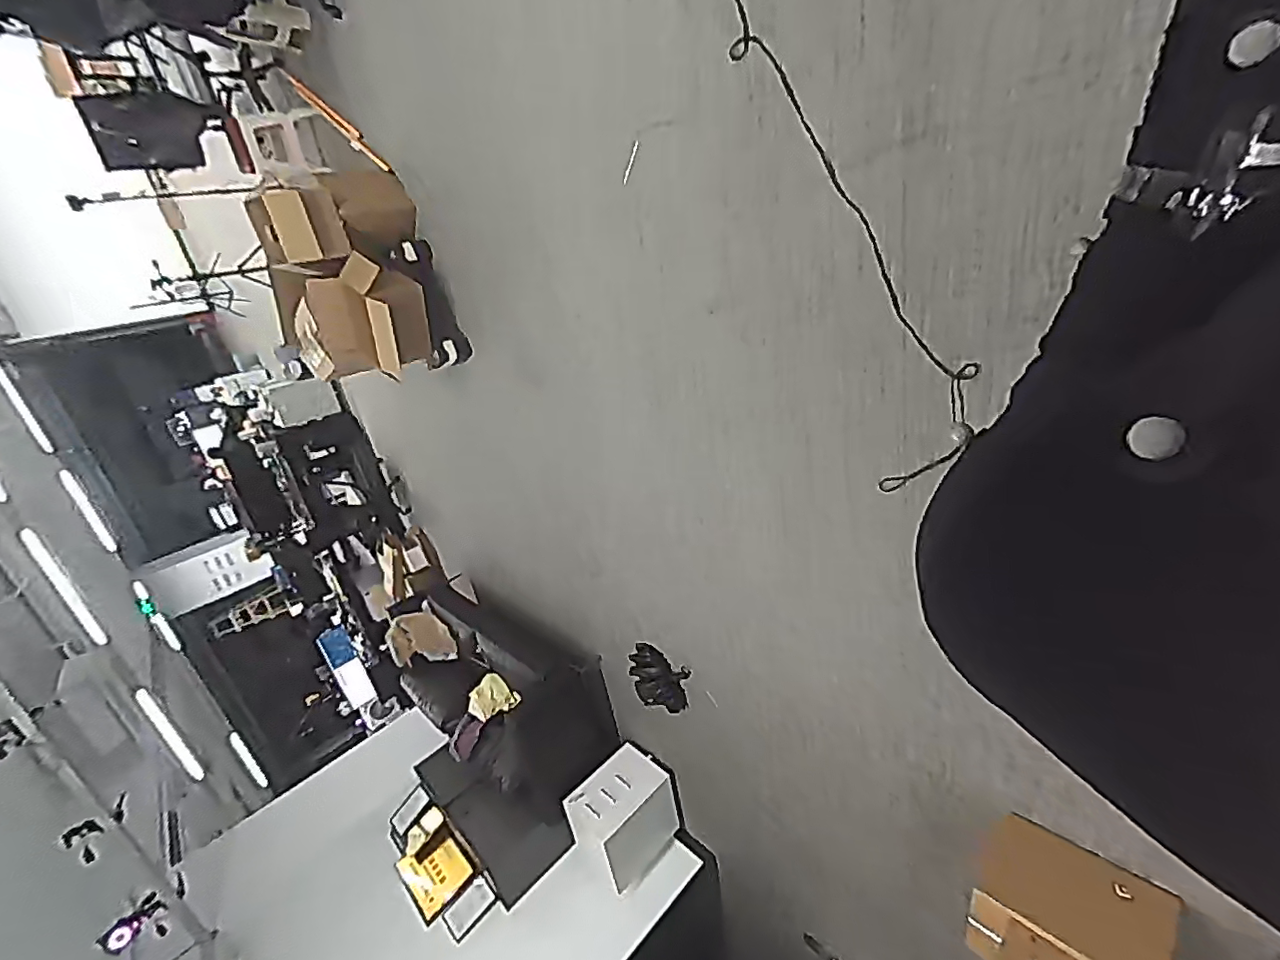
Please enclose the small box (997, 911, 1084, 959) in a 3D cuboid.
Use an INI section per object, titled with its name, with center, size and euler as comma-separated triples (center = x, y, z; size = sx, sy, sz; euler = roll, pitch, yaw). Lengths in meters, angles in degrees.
[small box]
center = 1.053, 1.313, 1.436
size = 0.168, 0.176, 0.179
euler = 16, 124, 44
